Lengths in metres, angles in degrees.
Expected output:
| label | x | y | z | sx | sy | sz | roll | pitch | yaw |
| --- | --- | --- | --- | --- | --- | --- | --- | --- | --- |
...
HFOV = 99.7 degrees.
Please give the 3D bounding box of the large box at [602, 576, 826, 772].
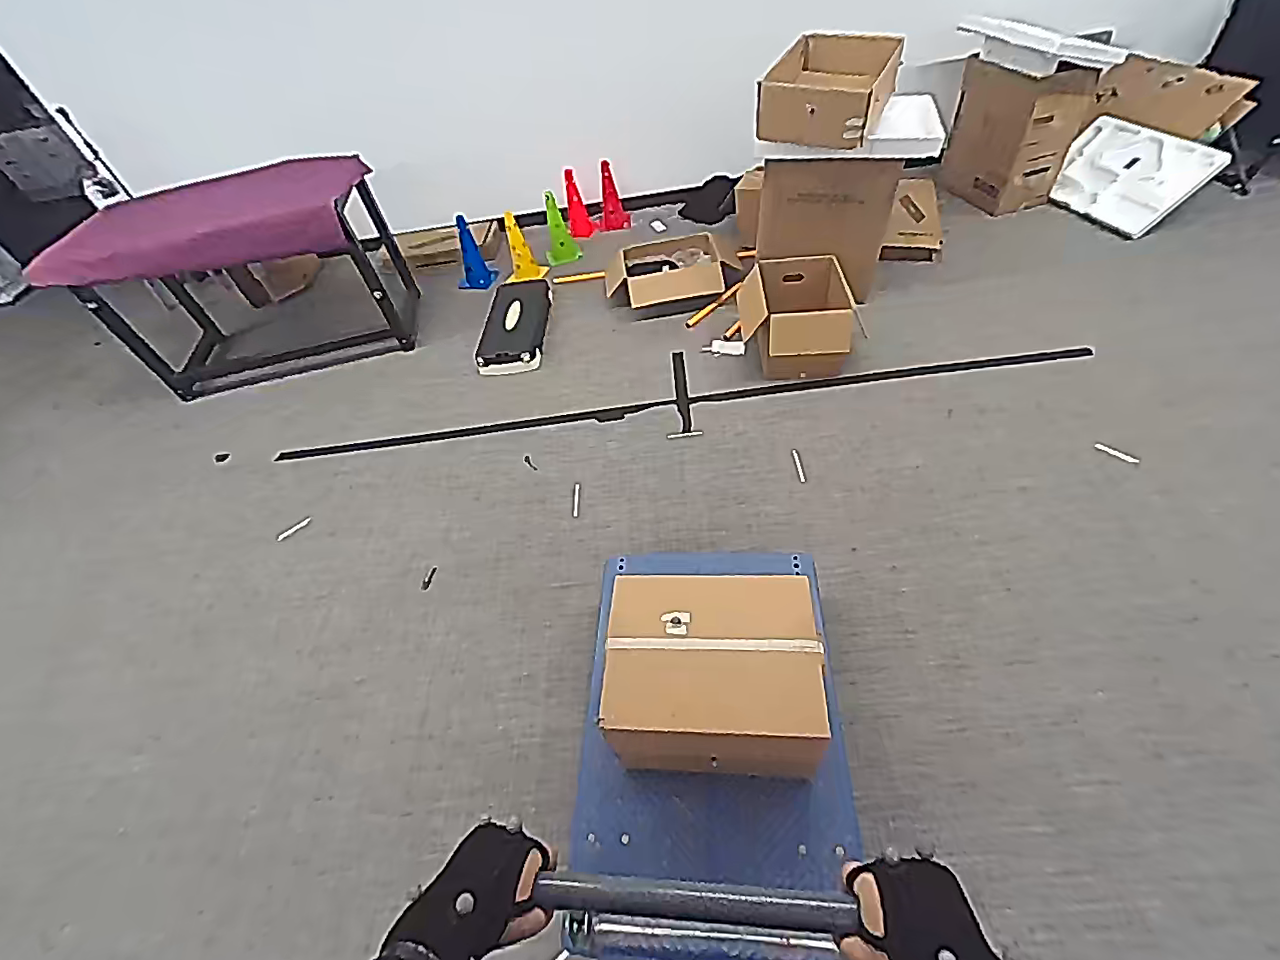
| label | x | y | z | sx | sy | sz | roll | pitch | yaw |
| --- | --- | --- | --- | --- | --- | --- | --- | --- | --- |
| large box | 0.157 | 0.423 | 1.162 | 0.408 | 0.320 | 0.320 | -3 | 49 | 9 |
